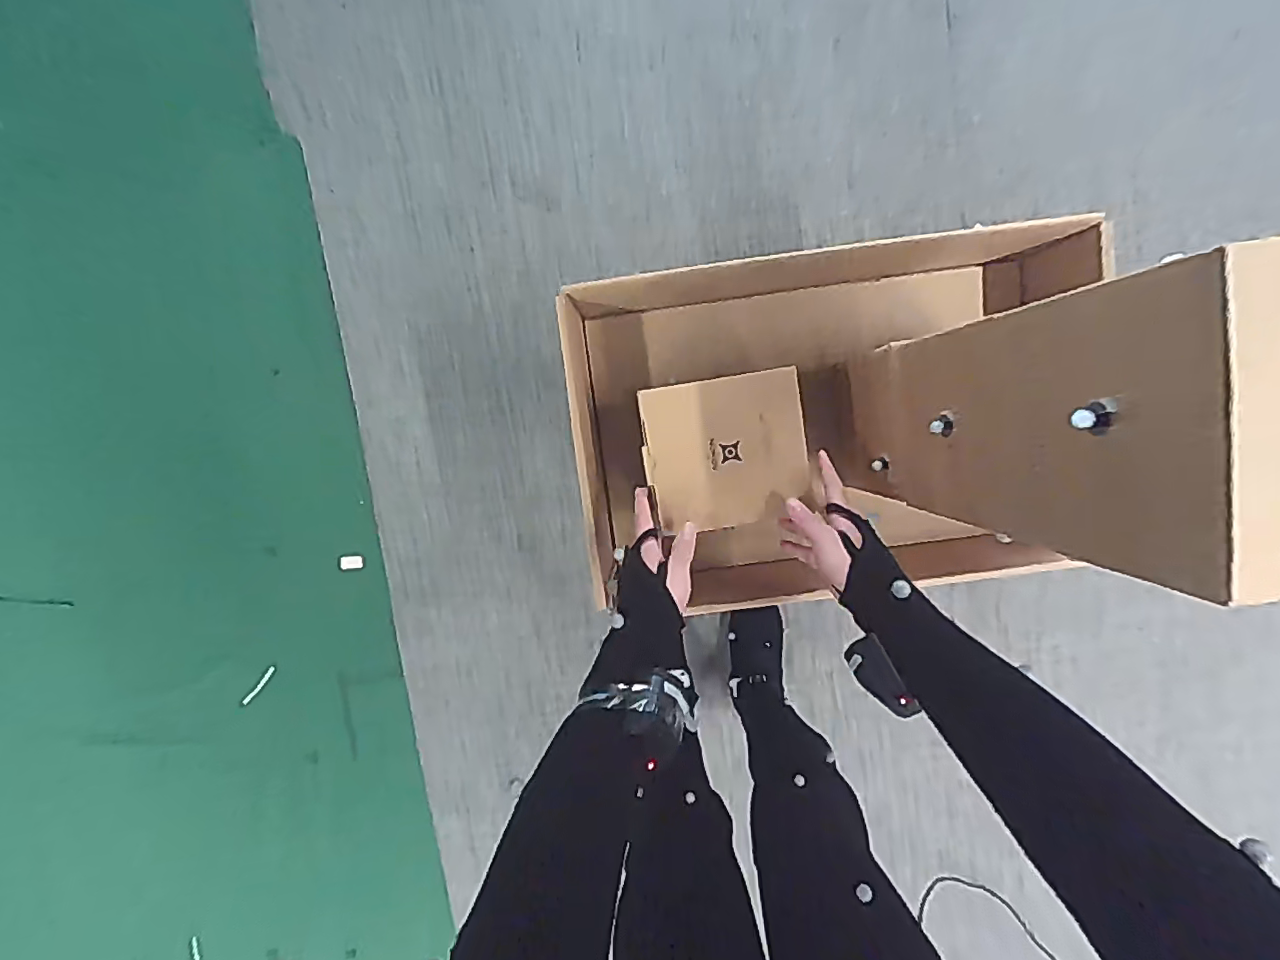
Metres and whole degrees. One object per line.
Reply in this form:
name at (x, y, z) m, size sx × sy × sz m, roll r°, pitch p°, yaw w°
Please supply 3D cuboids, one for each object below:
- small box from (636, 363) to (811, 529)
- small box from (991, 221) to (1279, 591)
small box at (0.094, -0.043, 0.671) m, size 0.179 × 0.176 × 0.168 m, roll -8°, pitch 96°, yaw 1°
small box at (0.352, -0.048, 0.335) m, size 0.168 × 0.176 × 0.179 m, roll -7°, pitch 95°, yaw 1°
